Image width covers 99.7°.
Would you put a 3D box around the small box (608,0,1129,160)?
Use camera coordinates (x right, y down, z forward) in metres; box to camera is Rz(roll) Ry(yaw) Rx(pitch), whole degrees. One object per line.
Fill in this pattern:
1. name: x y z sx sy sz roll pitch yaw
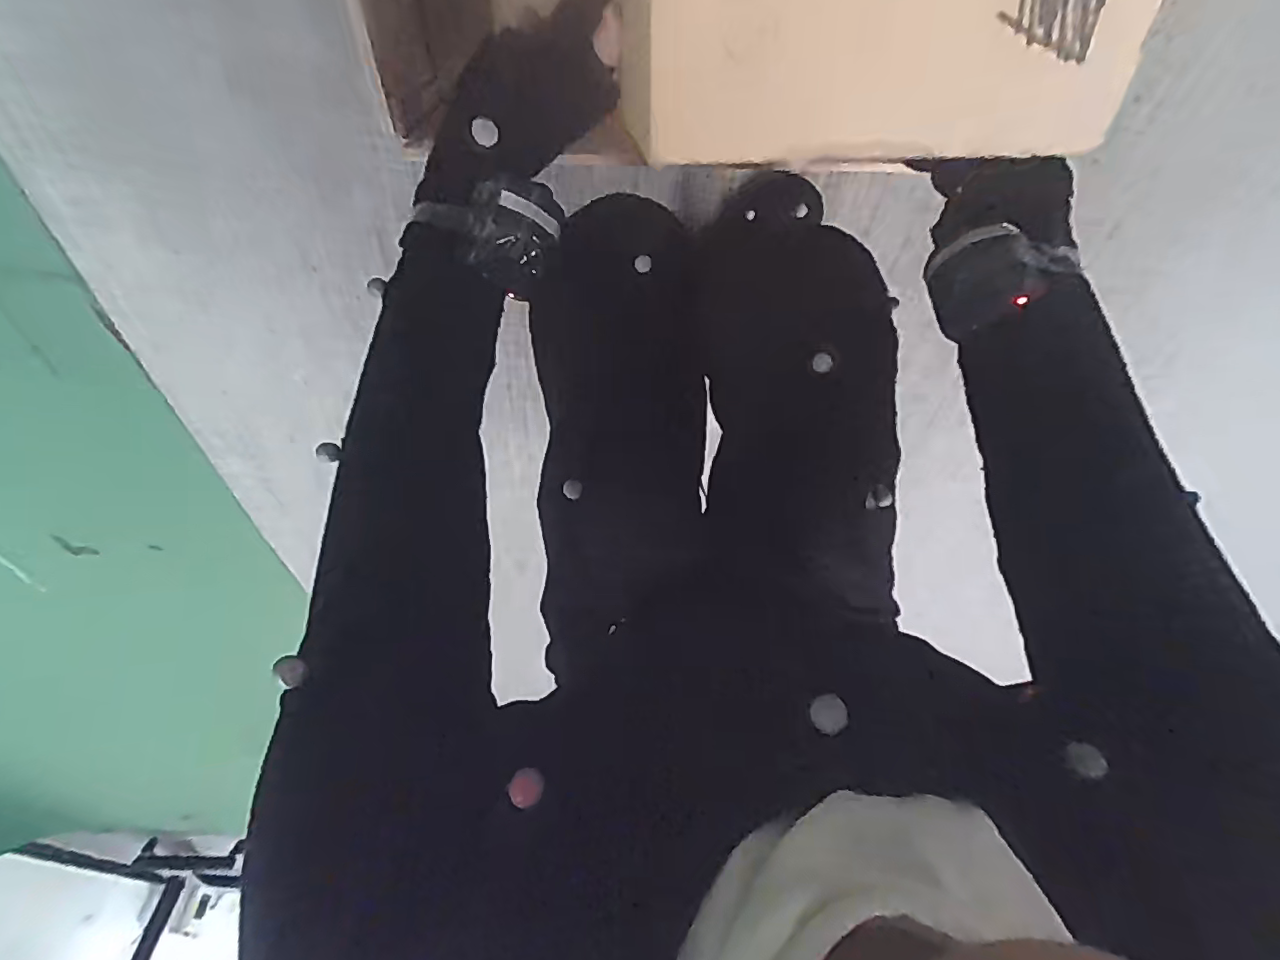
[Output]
1. small box: 0.076 -0.239 0.220 0.179 0.176 0.168 -1 128 -3
